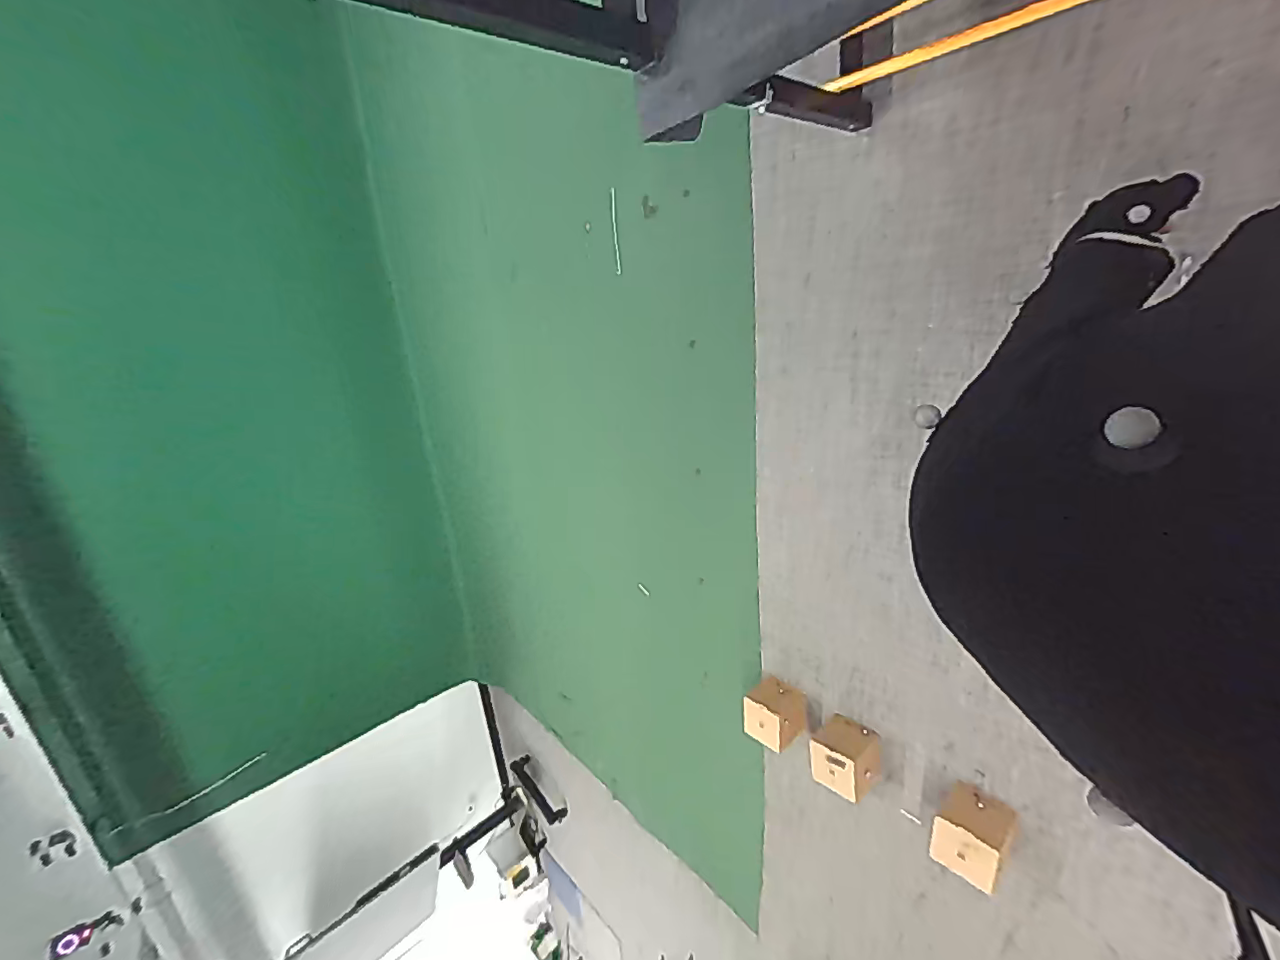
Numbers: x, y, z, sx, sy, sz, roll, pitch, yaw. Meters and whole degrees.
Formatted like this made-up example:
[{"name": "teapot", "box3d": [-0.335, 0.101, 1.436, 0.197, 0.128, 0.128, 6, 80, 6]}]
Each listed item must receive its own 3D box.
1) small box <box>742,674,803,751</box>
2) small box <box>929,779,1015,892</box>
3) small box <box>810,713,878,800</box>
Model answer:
[{"name": "small box", "box3d": [0.513, 0.889, 2.084, 0.168, 0.176, 0.179, 15, 116, 46]}, {"name": "small box", "box3d": [0.975, 1.033, 1.586, 0.168, 0.176, 0.179, 16, 117, 45]}, {"name": "small box", "box3d": [0.708, 0.949, 1.874, 0.168, 0.176, 0.179, 10, 114, 48]}]
